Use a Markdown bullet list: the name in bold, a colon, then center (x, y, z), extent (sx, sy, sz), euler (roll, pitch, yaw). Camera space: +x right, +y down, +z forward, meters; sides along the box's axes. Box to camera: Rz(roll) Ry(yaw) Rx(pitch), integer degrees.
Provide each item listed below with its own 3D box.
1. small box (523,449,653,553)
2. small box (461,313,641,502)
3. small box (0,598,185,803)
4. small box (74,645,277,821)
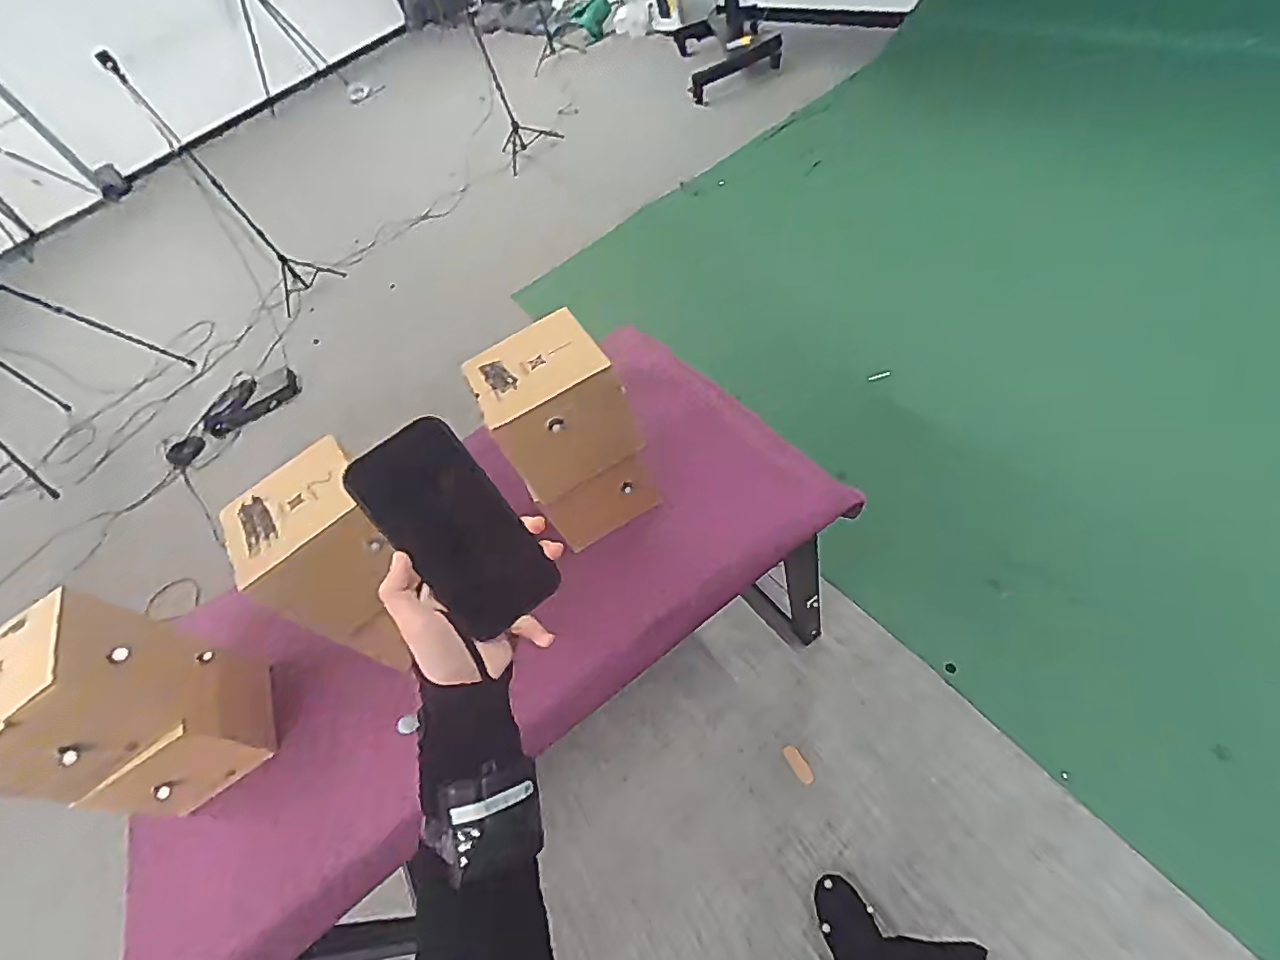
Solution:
- **small box**: center (-0.092, -0.010, 0.913), extent (0.179, 0.176, 0.168), euler (-31, 50, -3)
- **small box**: center (-0.124, -0.100, 0.779), extent (0.179, 0.176, 0.168), euler (-31, 50, -5)
- **small box**: center (-0.749, 0.294, 0.712), extent (0.168, 0.176, 0.179), euler (-39, 52, -11)
- **small box**: center (-0.698, 0.393, 0.833), extent (0.168, 0.176, 0.179), euler (-35, 51, -8)
